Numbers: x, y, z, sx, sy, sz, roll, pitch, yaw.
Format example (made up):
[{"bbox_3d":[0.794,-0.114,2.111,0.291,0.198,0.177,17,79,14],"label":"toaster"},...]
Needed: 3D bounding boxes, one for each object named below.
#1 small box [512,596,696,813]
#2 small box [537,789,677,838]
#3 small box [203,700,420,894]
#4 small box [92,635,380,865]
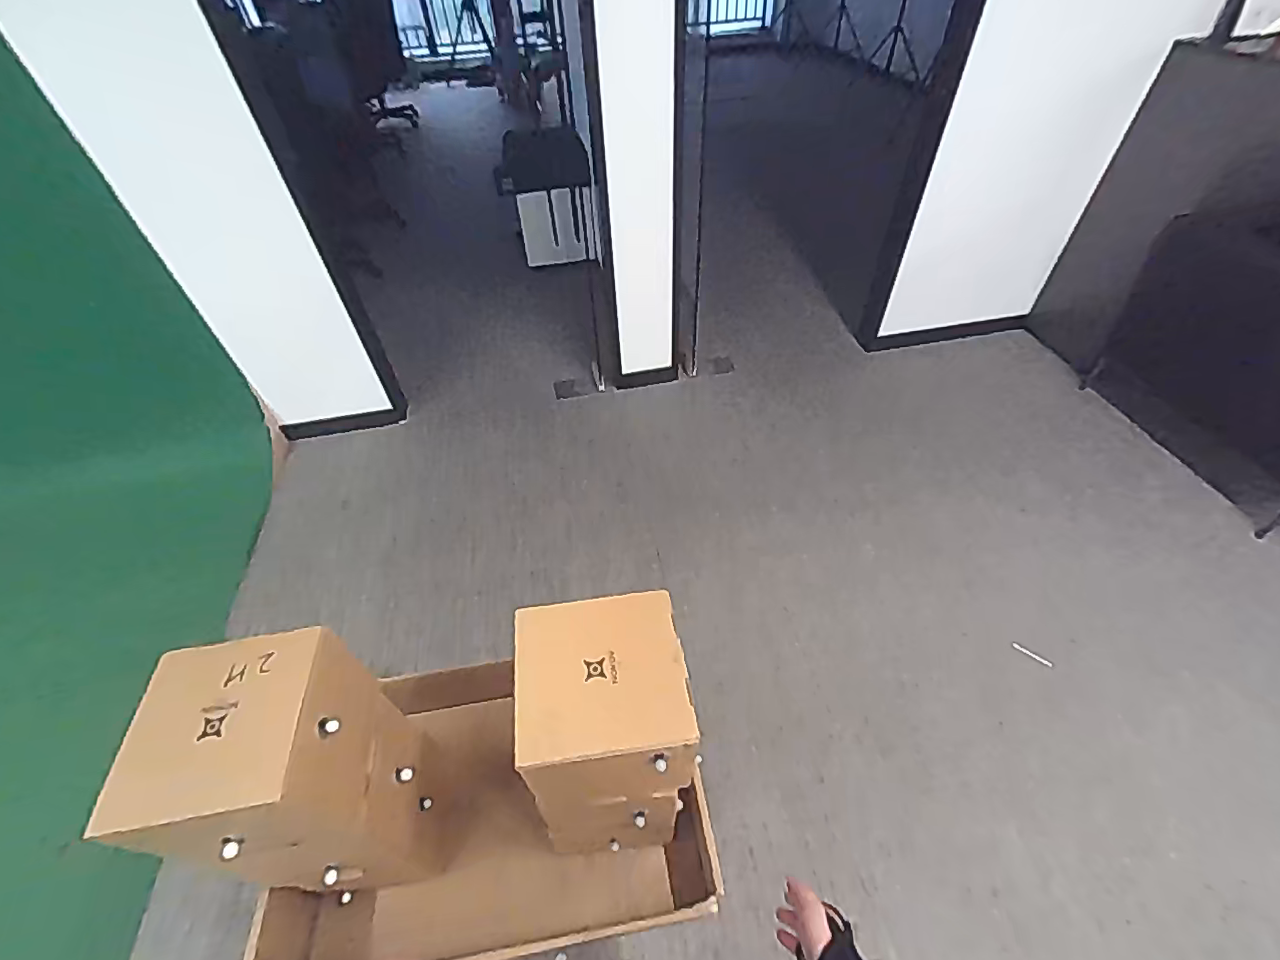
[{"bbox_3d":[-0.041,0.256,0.612,0.179,0.176,0.168,-6,46,-6],"label":"small box"},{"bbox_3d":[-0.039,0.367,0.731,0.168,0.176,0.179,-3,45,-2],"label":"small box"},{"bbox_3d":[-0.403,0.414,0.707,0.179,0.176,0.168,-9,46,-7],"label":"small box"},{"bbox_3d":[-0.406,0.297,0.589,0.168,0.176,0.179,-8,46,-5],"label":"small box"}]
